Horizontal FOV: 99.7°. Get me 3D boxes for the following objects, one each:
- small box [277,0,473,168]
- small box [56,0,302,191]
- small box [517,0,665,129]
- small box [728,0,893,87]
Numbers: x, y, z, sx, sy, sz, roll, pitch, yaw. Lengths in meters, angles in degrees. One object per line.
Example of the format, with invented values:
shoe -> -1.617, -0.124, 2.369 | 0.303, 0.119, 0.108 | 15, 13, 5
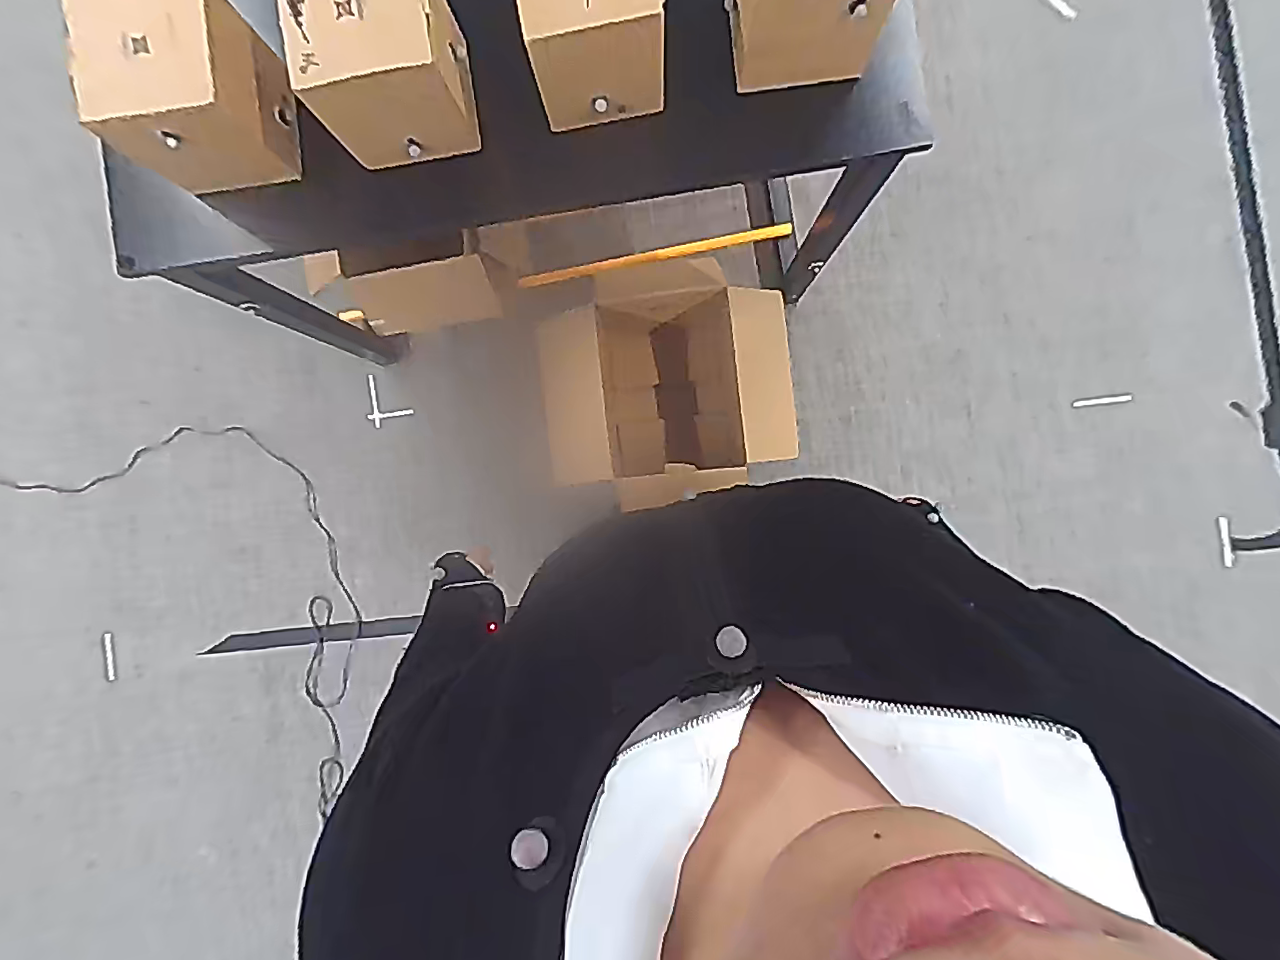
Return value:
small box -> -0.330, -0.543, 0.704 | 0.179, 0.176, 0.168 | -10, 89, 2
small box -> -0.591, -0.509, 0.714 | 0.179, 0.176, 0.168 | -7, 91, 1
small box -> -0.064, -0.599, 0.693 | 0.168, 0.176, 0.179 | -10, 90, 2
small box -> 0.212, -0.639, 0.680 | 0.179, 0.176, 0.168 | -6, 89, 3
